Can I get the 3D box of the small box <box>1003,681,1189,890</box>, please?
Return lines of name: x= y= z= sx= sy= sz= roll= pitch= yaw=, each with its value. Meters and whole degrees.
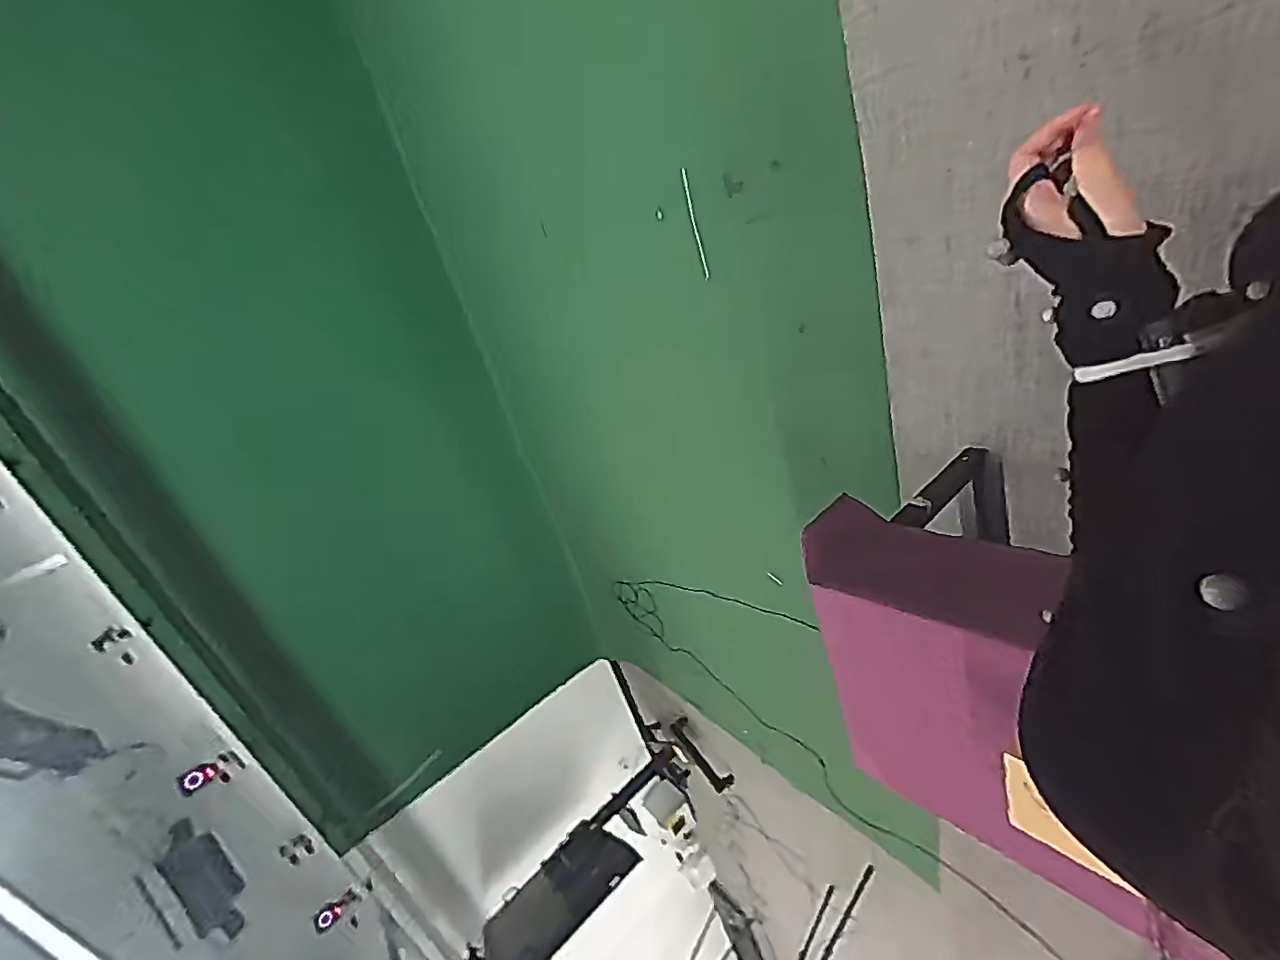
small box: x=0.670 y=0.433 z=0.799 sx=0.179 sy=0.176 sz=0.168 roll=13 pitch=129 yaw=52
